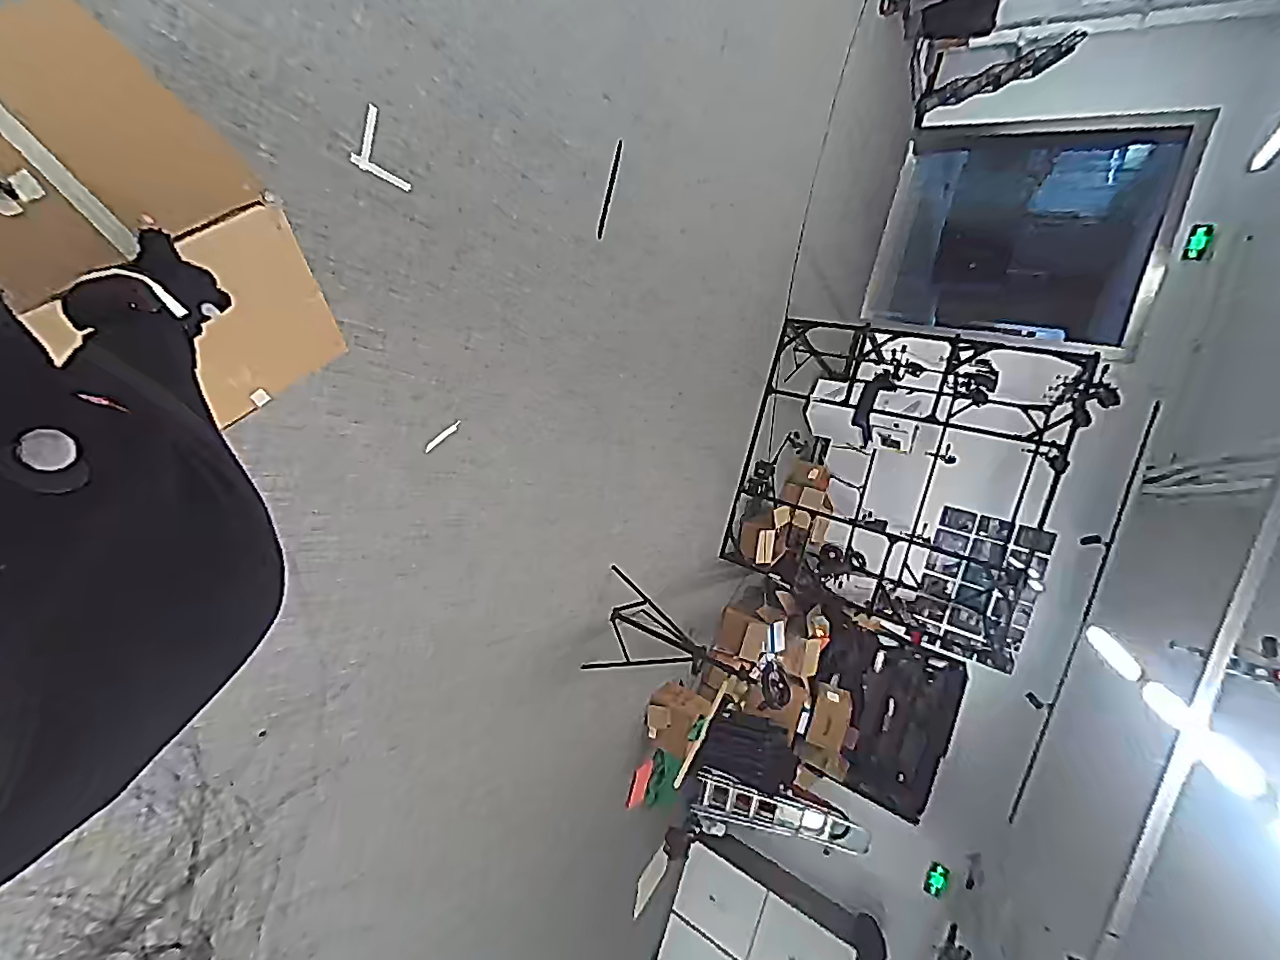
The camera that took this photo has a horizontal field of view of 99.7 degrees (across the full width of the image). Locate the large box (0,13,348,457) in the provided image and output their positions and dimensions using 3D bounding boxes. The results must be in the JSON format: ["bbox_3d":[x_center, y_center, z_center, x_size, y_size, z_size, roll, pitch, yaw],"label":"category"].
[{"bbox_3d":[-0.702,-0.309,0.741,0.320,0.408,0.320,-45,175,-22],"label":"large box"}]
